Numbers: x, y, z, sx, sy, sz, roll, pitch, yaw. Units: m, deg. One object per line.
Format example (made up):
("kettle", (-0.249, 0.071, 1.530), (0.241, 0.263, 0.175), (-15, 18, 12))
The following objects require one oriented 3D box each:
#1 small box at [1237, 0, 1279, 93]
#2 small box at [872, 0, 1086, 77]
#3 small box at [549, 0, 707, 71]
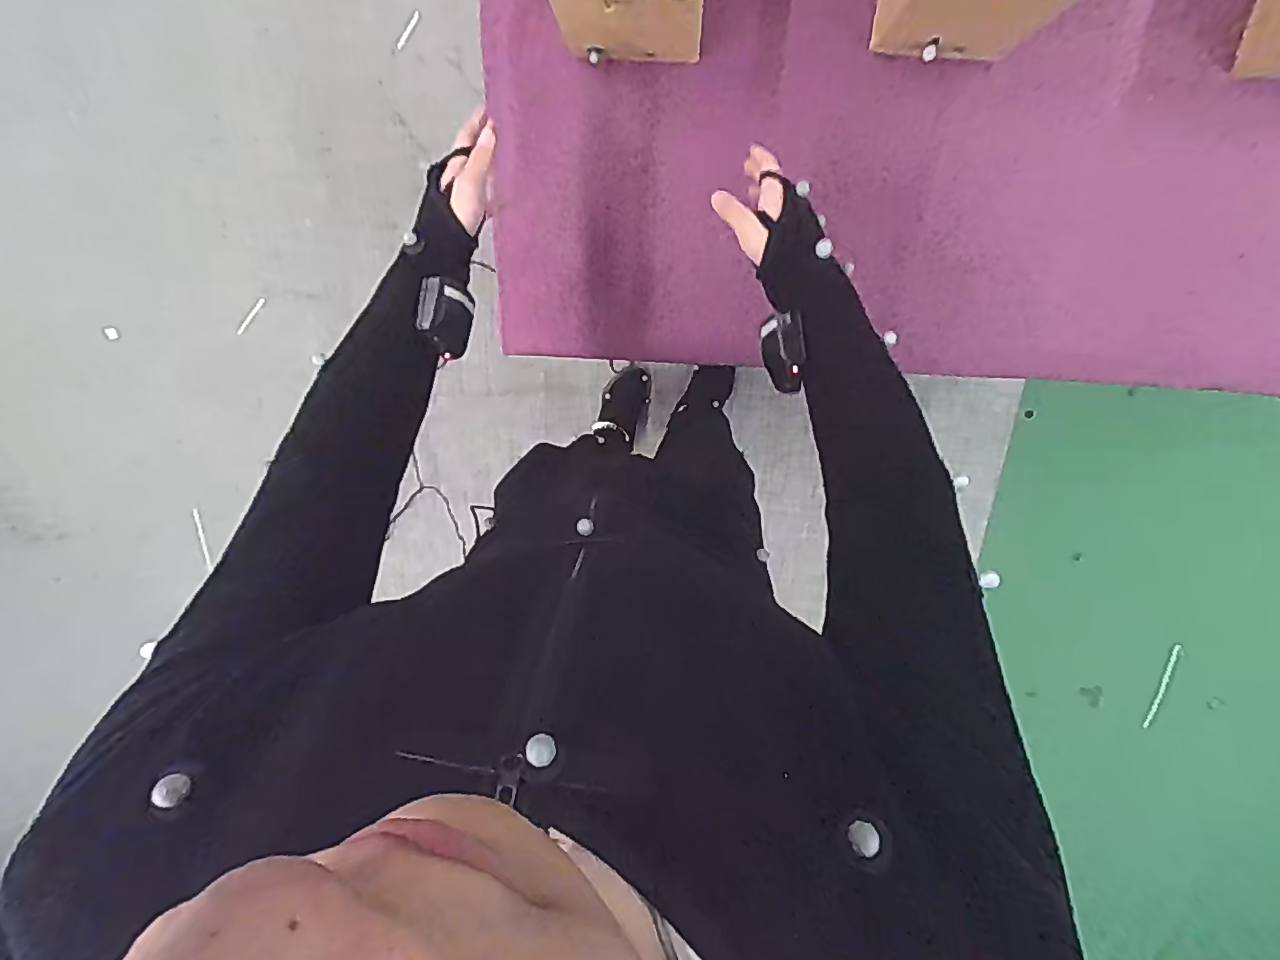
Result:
("small box", (0.807, -0.536, 0.565), (0.168, 0.176, 0.179), (5, 107, 4))
("small box", (0.373, -0.580, 0.588), (0.168, 0.176, 0.179), (7, 108, 3))
("small box", (-0.003, -0.595, 0.609), (0.168, 0.176, 0.179), (5, 108, 3))
